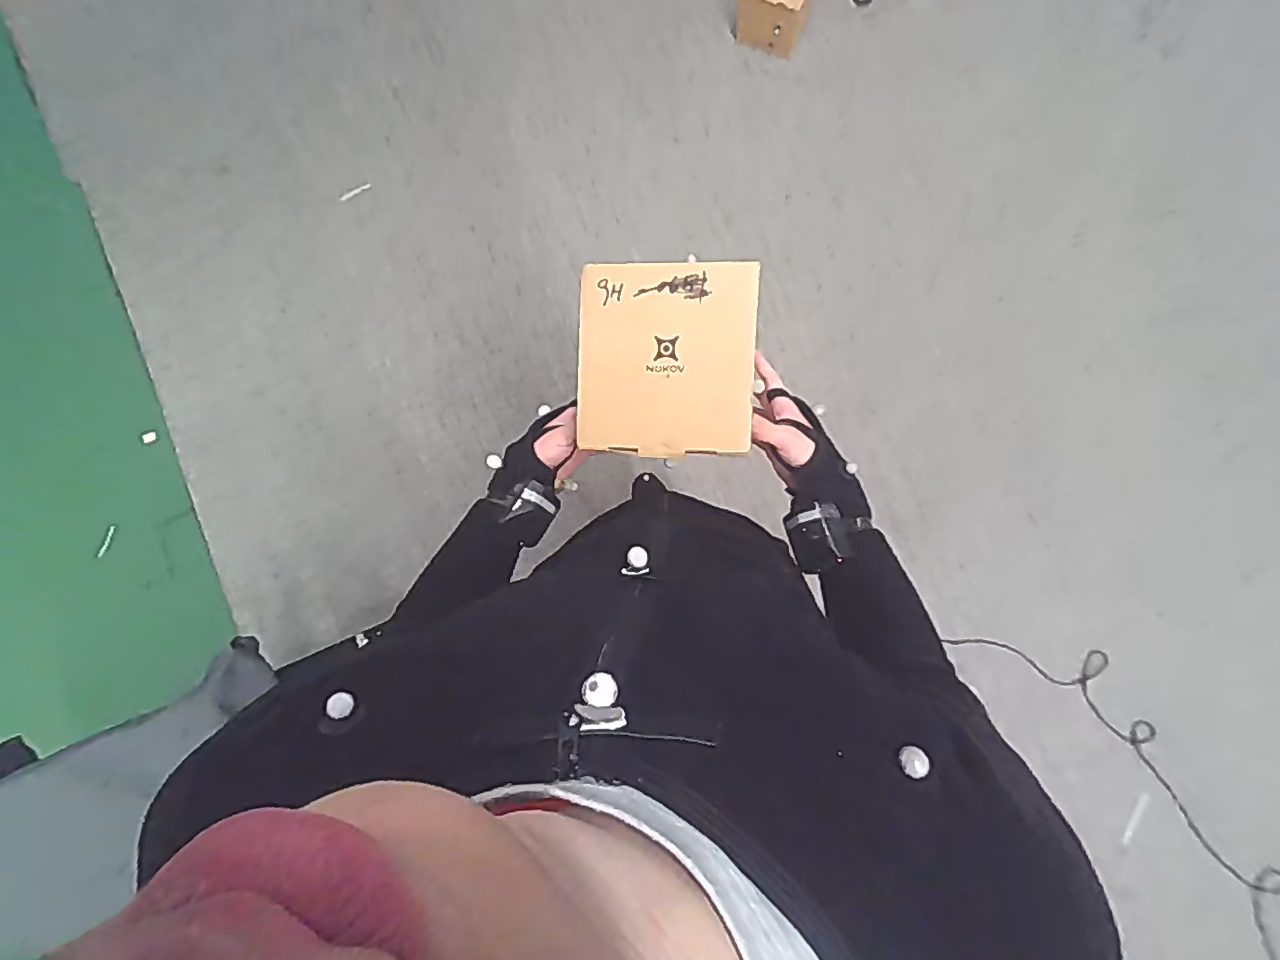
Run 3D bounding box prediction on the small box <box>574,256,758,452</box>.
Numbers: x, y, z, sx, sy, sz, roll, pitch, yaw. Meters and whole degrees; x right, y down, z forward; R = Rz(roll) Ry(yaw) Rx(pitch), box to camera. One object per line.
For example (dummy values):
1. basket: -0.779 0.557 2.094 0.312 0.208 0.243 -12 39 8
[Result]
1. small box: 0.033 -0.123 0.576 0.168 0.176 0.179 3 95 8
